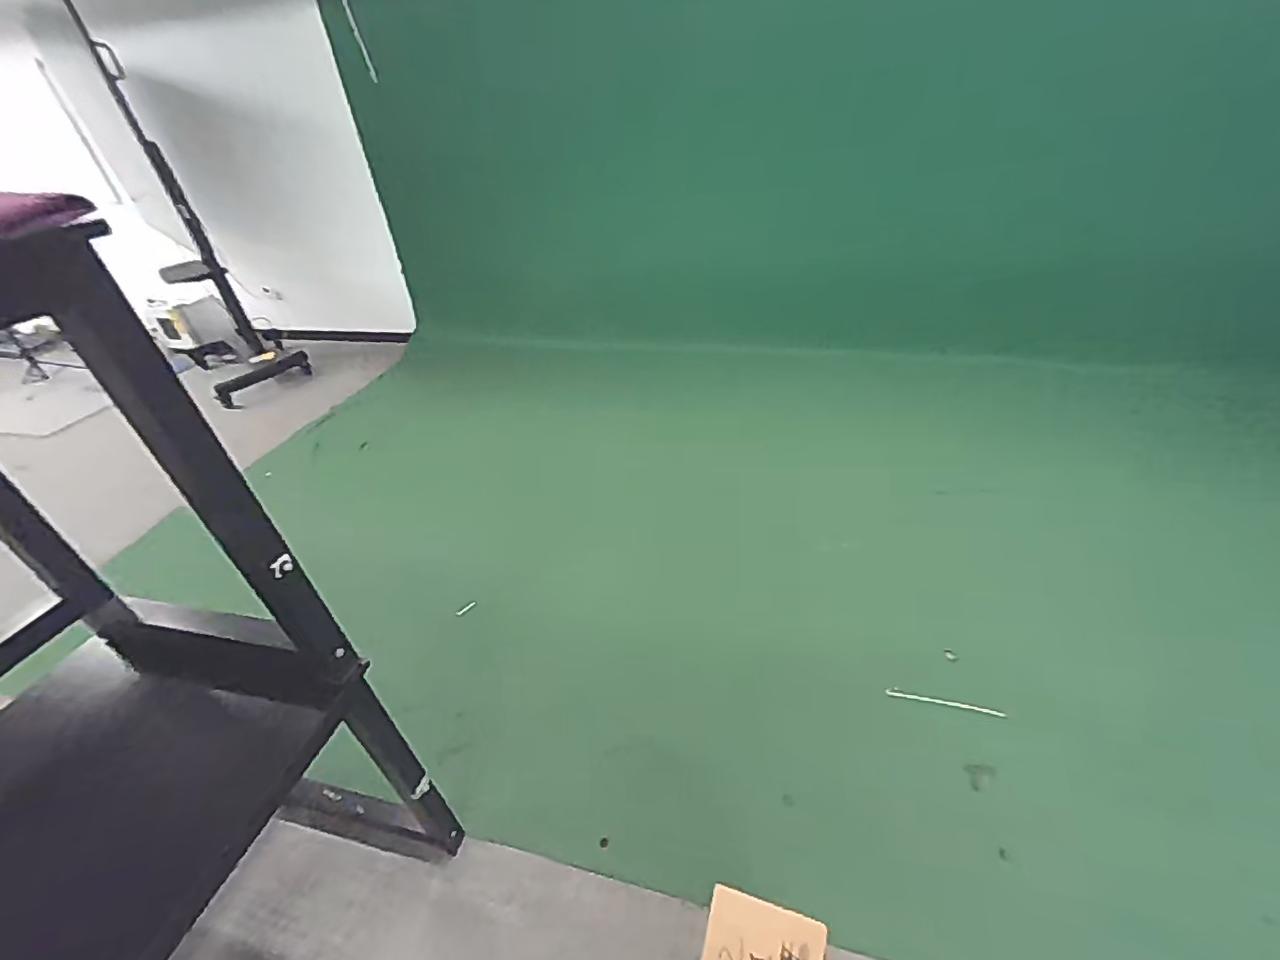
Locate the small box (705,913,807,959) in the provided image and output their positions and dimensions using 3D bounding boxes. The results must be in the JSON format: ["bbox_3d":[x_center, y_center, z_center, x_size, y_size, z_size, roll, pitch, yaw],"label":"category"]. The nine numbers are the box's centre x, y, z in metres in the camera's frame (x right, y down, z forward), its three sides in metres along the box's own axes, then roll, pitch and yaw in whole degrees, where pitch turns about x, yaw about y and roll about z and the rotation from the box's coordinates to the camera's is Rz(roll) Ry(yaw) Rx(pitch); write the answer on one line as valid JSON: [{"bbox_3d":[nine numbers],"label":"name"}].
[{"bbox_3d":[0.189,0.896,0.924,0.168,0.176,0.179,8,38,15],"label":"small box"}]
